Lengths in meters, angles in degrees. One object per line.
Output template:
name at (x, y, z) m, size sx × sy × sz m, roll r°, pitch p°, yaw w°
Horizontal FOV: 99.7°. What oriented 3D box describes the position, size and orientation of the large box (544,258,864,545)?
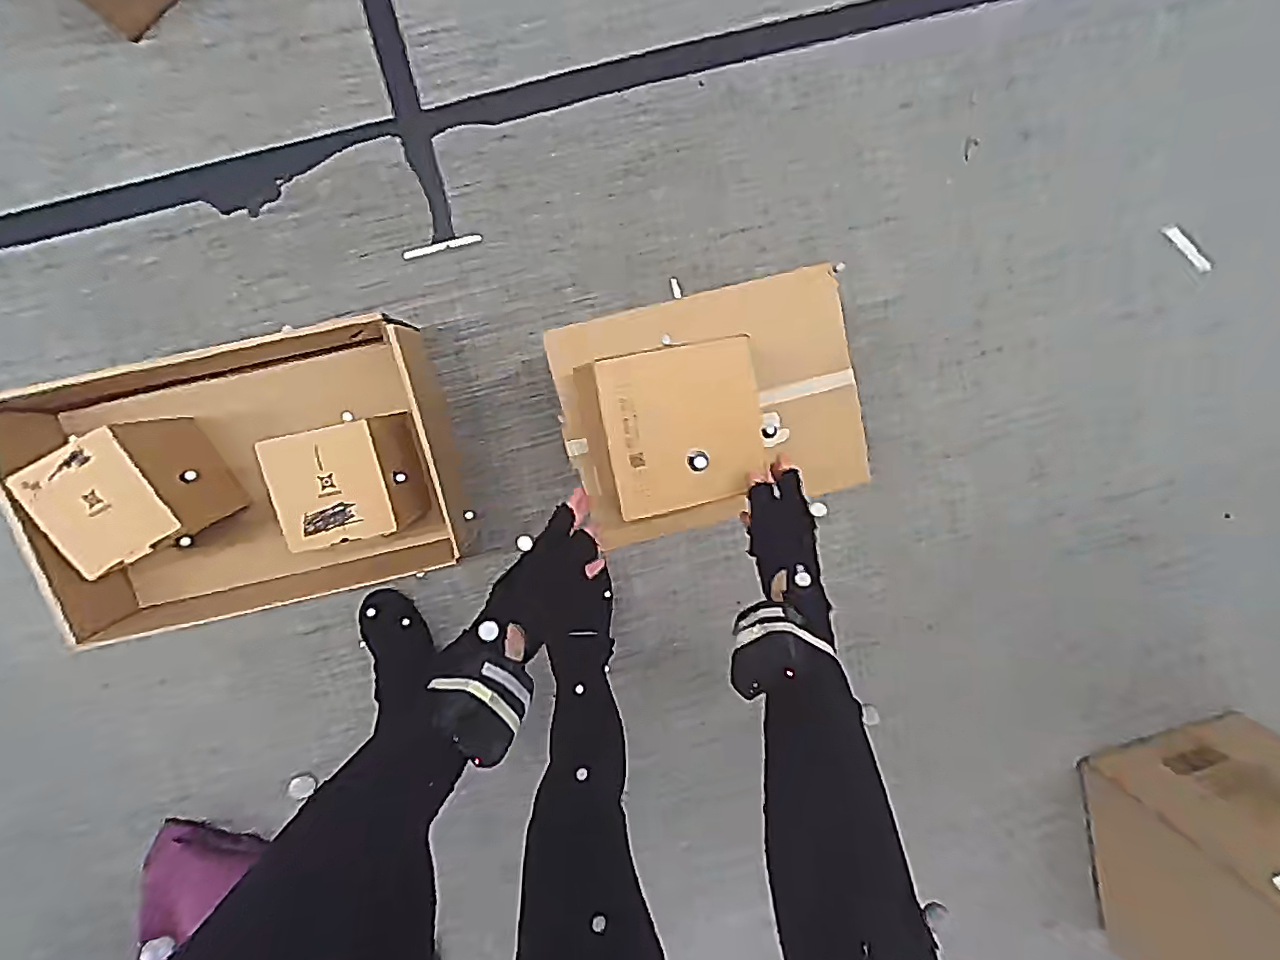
large box at (0.084, -0.127, 0.895) m, size 0.408 × 0.320 × 0.320 m, roll -16°, pitch 102°, yaw -3°
